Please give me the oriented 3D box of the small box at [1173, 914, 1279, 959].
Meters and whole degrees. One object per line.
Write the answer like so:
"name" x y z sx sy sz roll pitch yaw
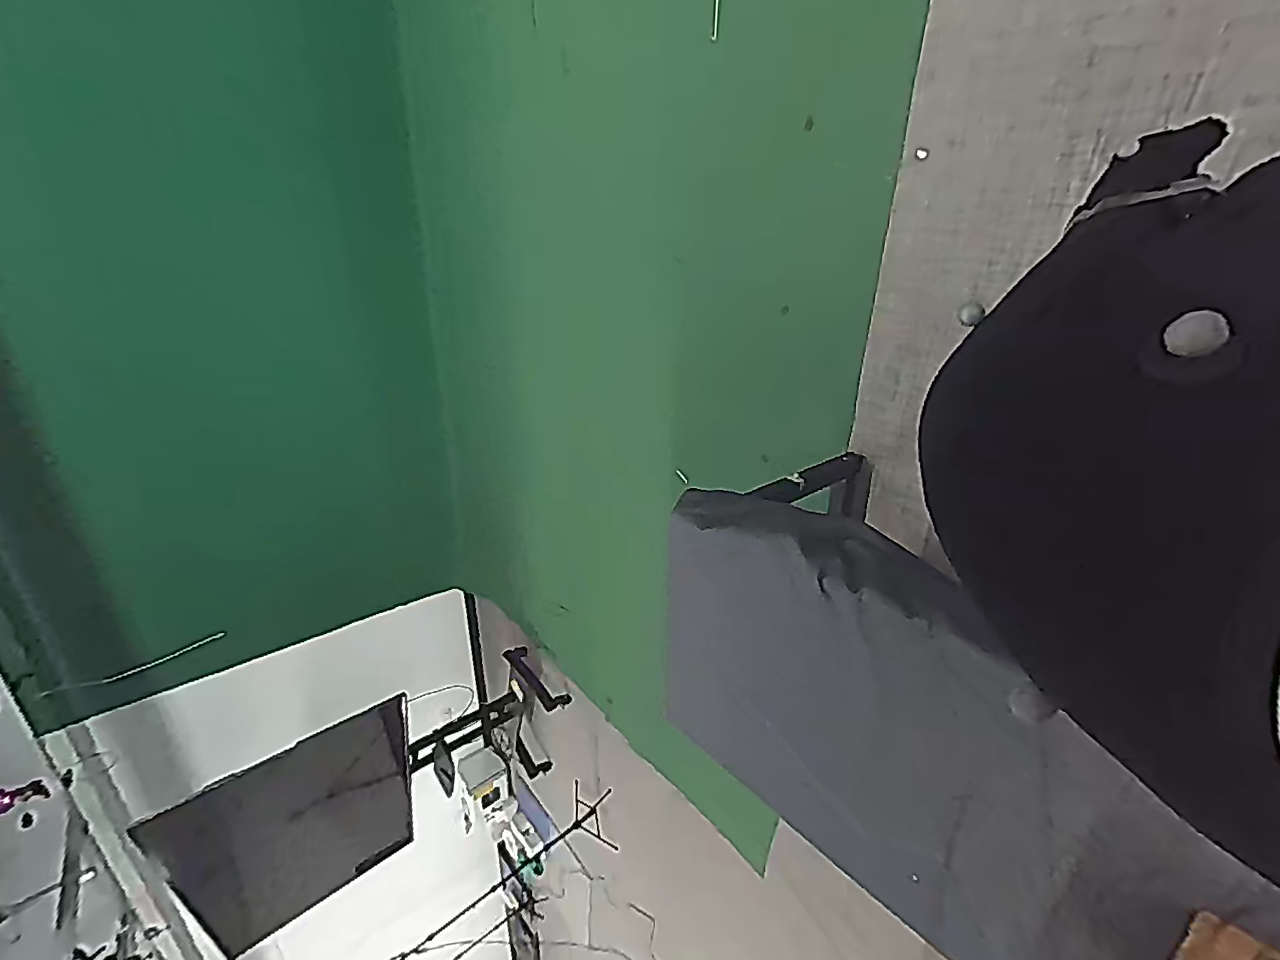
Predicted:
"small box" 0.654 0.618 0.560 0.168 0.176 0.179 22 119 46
